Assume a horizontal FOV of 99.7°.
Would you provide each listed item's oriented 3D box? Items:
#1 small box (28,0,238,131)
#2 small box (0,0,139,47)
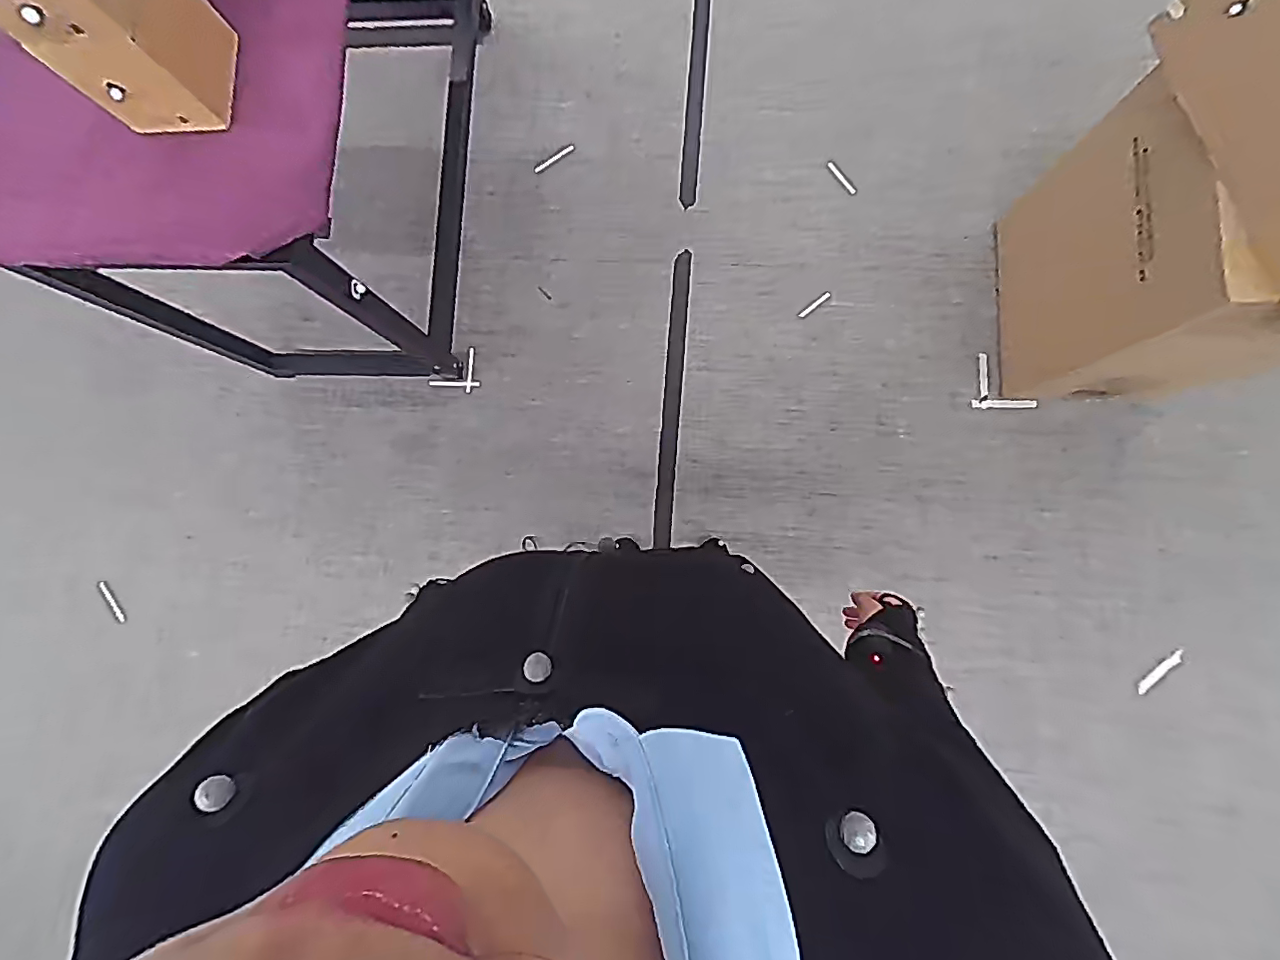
[{"bbox_3d":[-0.766,-0.672,0.836,0.168,0.176,0.179,0,83,4],"label":"small box"},{"bbox_3d":[-0.772,-0.692,0.672,0.168,0.176,0.179,0,84,4],"label":"small box"}]
